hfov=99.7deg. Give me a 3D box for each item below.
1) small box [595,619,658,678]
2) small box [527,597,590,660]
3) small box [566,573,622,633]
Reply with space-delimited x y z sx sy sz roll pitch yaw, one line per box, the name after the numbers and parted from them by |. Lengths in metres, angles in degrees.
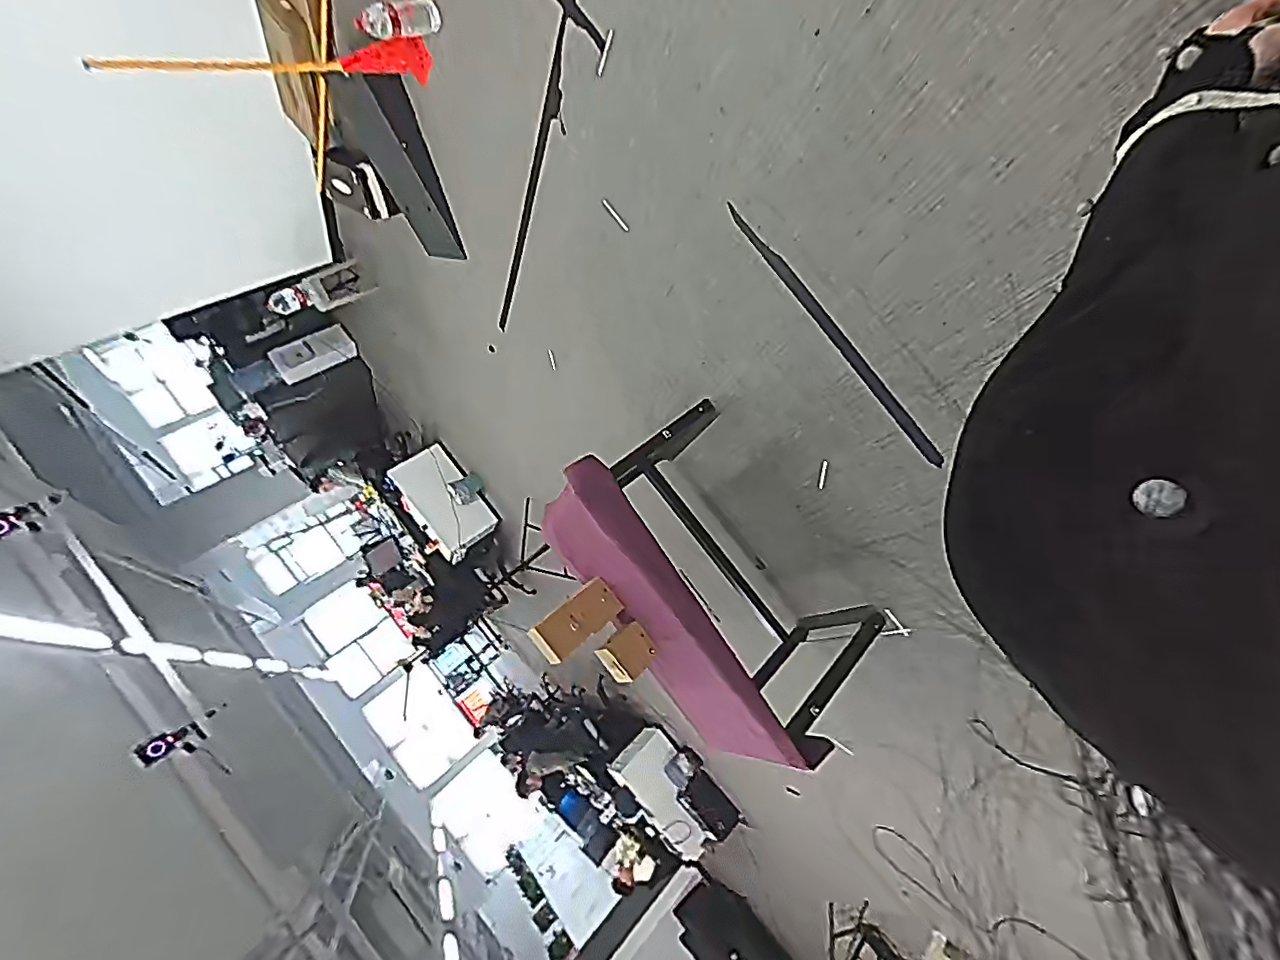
-0.050 0.678 2.183 0.168 0.176 0.179 52 151 2 | small box
-0.319 0.587 2.134 0.168 0.176 0.179 49 150 3 | small box
-0.201 0.504 2.209 0.168 0.176 0.179 51 150 1 | small box
